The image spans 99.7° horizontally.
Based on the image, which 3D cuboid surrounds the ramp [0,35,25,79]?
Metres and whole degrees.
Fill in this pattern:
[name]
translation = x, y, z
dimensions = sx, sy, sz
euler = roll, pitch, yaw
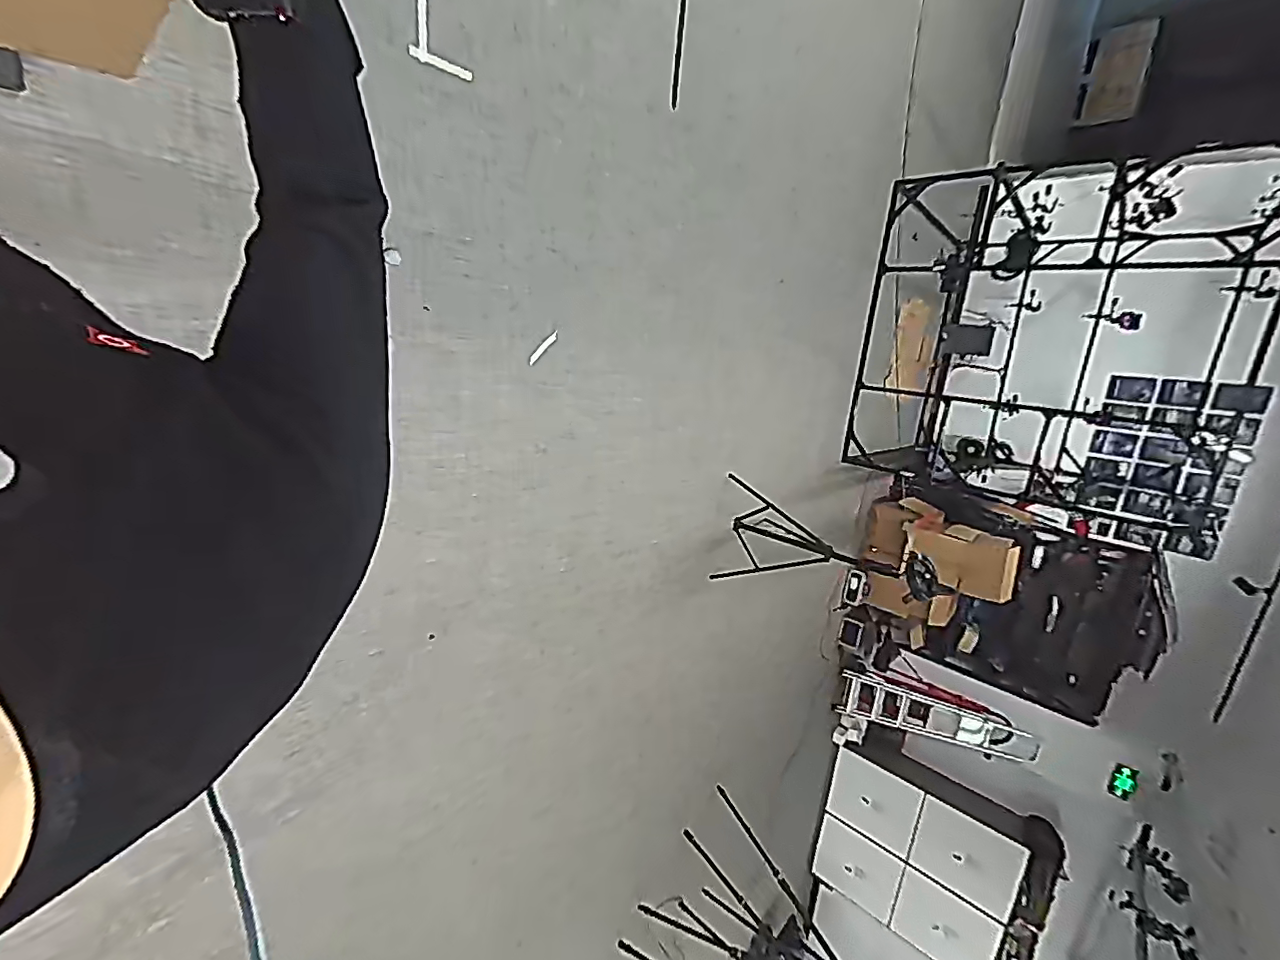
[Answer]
[ramp]
translation = -1.088, -1.096, 0.569
dimensions = 0.509, 0.206, 0.991
euler = -13, 113, -48
